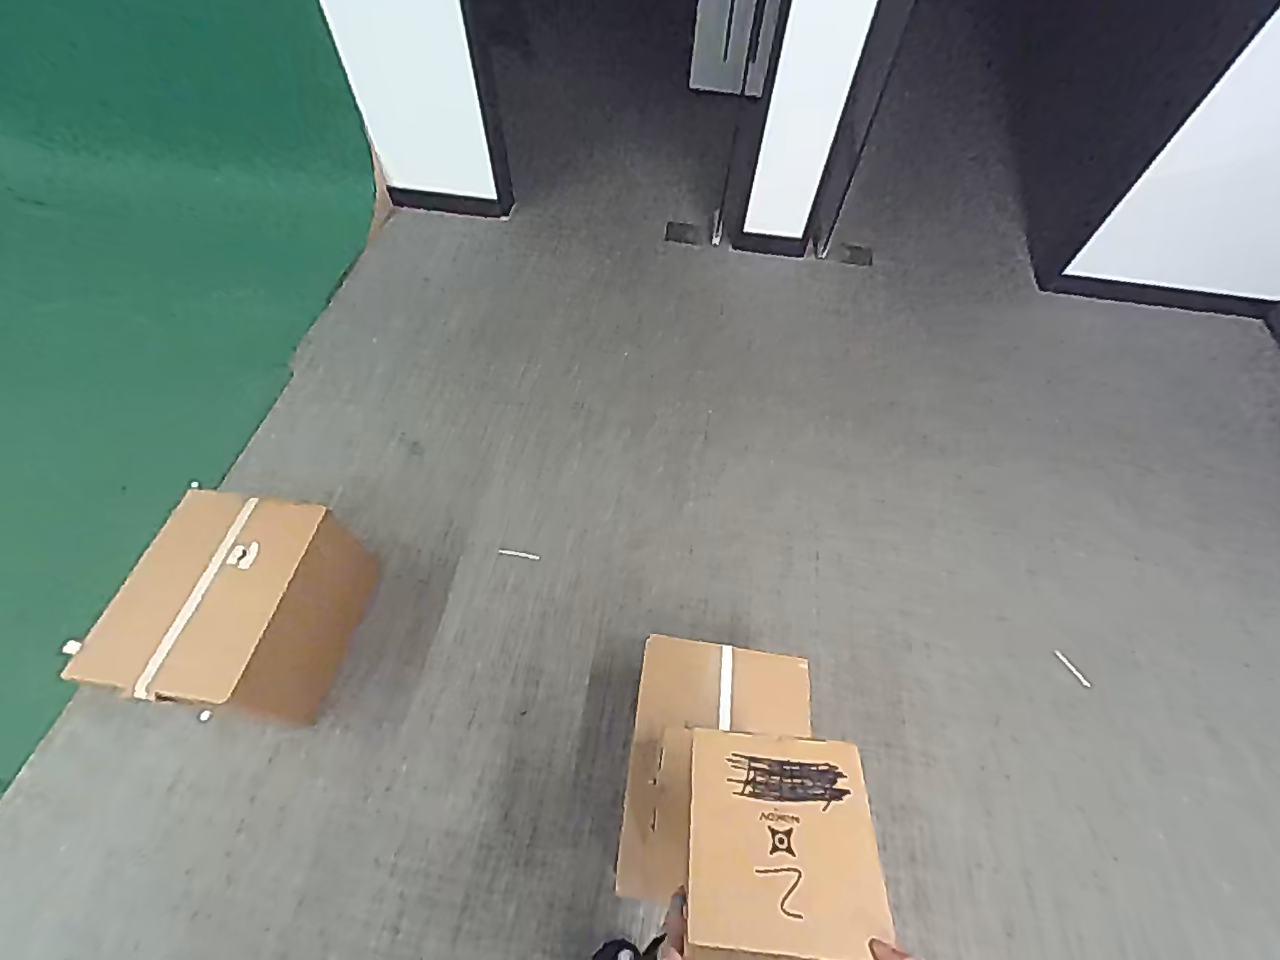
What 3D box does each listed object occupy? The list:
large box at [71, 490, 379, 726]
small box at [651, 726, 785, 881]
[{"bbox_3d":[-0.843,0.285,1.180,0.320,0.320,0.408,8,57,3],"label":"large box"},{"bbox_3d":[0.113,0.481,0.815,0.179,0.176,0.168,6,58,5],"label":"small box"}]
